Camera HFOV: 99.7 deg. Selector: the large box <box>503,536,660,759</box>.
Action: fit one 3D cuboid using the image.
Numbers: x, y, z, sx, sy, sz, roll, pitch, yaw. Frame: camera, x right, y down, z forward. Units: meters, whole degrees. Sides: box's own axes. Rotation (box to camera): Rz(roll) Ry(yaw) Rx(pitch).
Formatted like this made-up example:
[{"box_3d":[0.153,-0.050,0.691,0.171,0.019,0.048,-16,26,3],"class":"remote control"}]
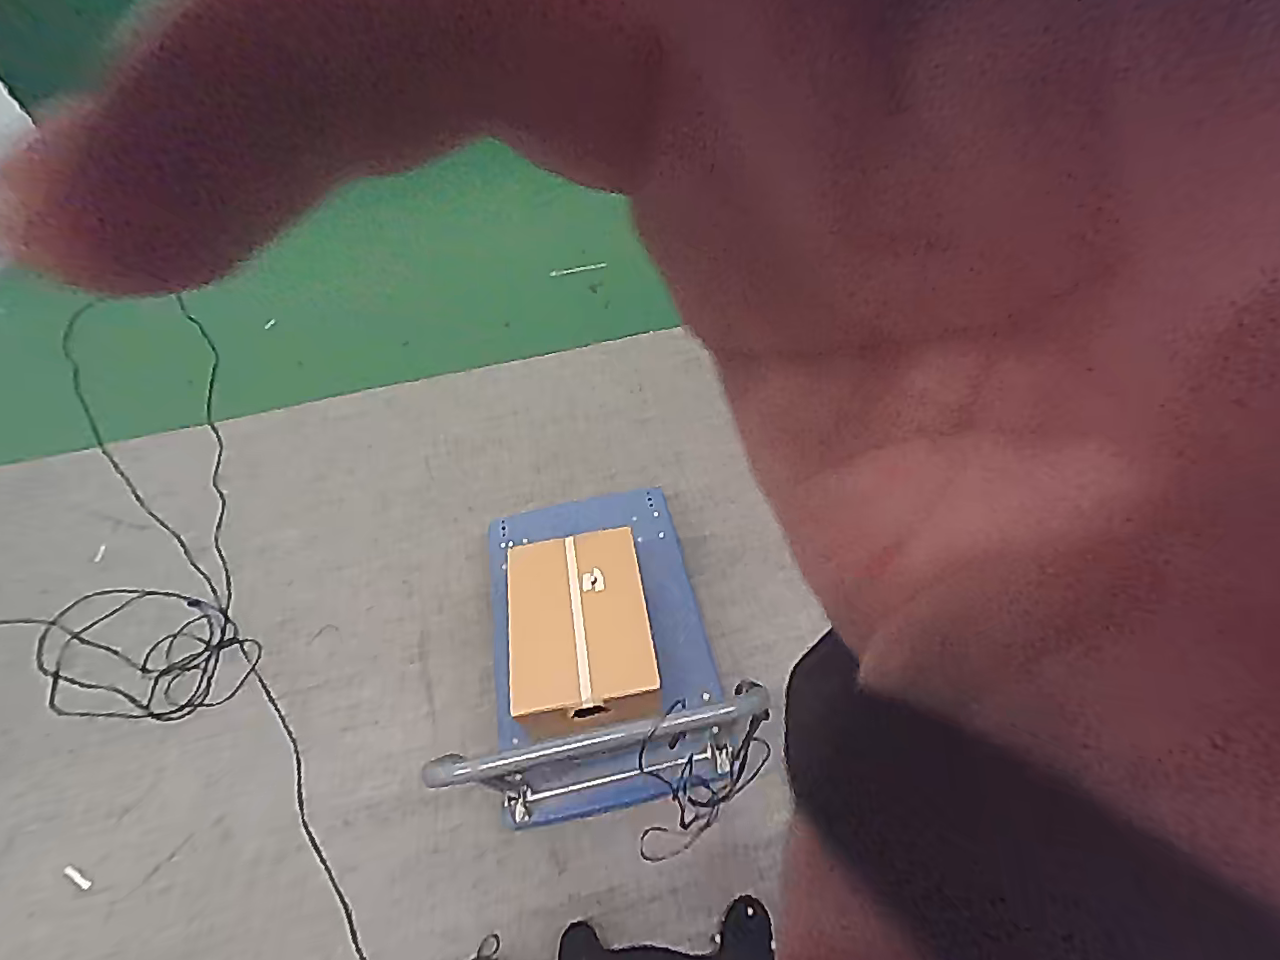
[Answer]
[{"box_3d":[-0.142,0.408,1.323,0.320,0.320,0.408,-9,51,-4],"class":"large box"}]
